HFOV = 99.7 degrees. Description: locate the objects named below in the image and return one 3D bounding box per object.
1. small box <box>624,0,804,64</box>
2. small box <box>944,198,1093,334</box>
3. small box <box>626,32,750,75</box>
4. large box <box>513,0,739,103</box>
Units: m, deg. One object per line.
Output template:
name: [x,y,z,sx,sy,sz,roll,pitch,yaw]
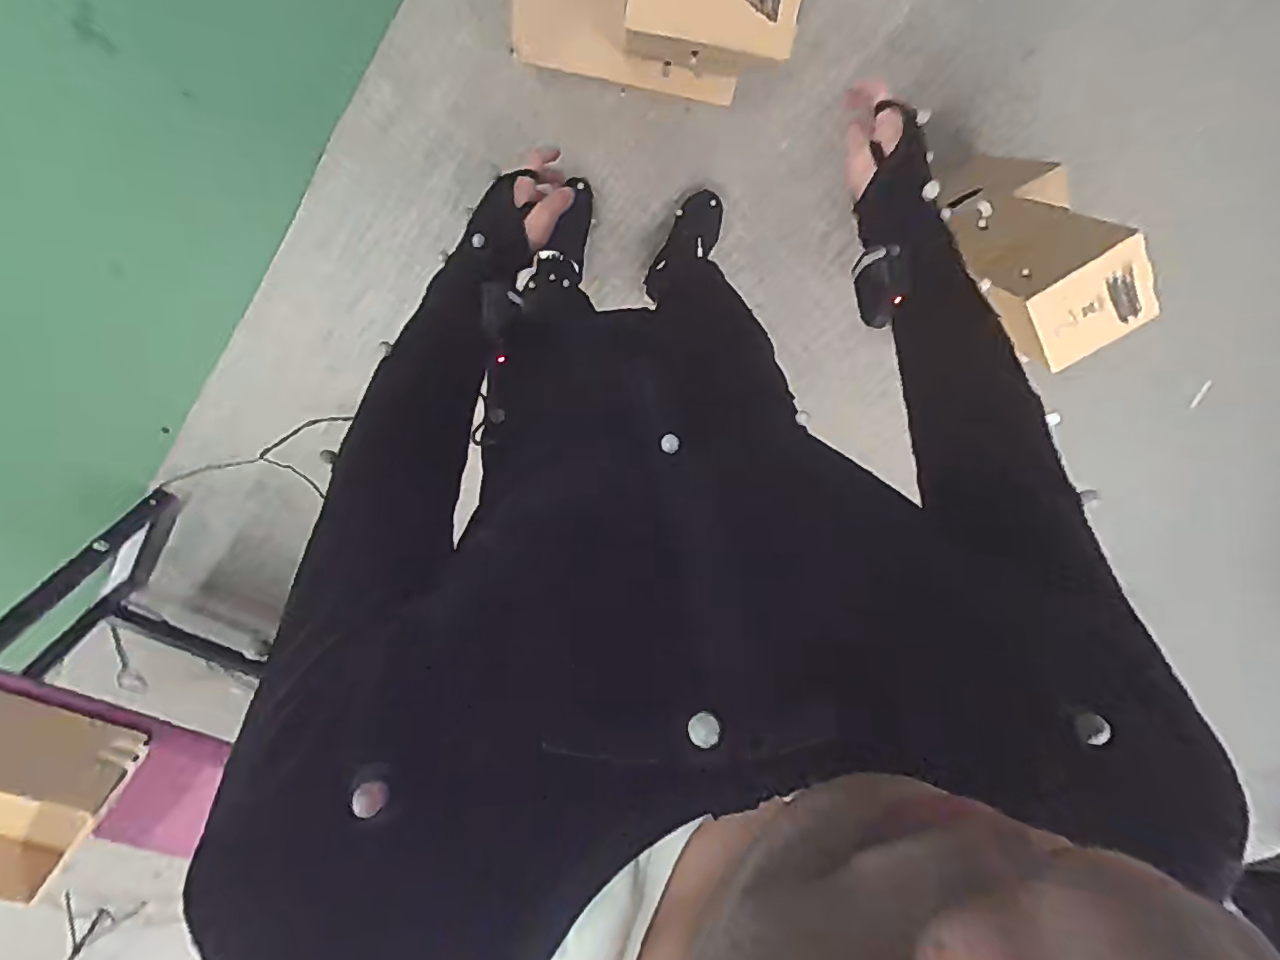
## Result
small box: [0.081,-0.558,0.570,0.179,0.176,0.168,8,123,-5]
small box: [0.738,-0.428,1.077,0.179,0.176,0.168,-32,120,19]
small box: [0.075,-0.654,0.702,0.168,0.176,0.179,8,124,-7]
large box: [-0.005,-0.923,1.012,0.408,0.320,0.320,7,122,-6]
